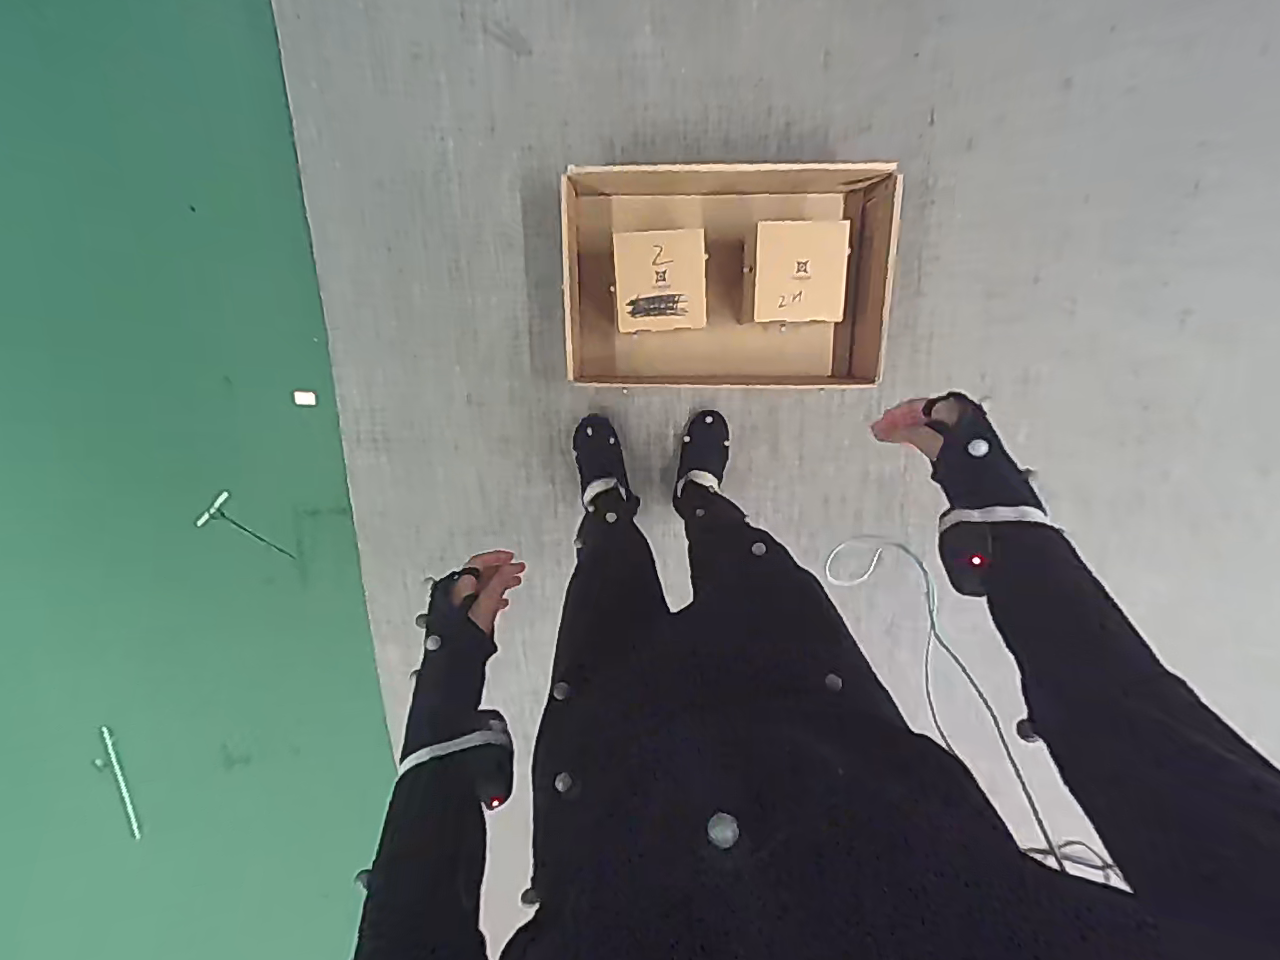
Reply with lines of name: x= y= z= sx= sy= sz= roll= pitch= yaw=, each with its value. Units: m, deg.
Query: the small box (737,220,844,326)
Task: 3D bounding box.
small box: x=0.286 y=-0.400 z=1.066 sx=0.168 sy=0.176 sz=0.179 roll=0 pitch=104 yaw=2
